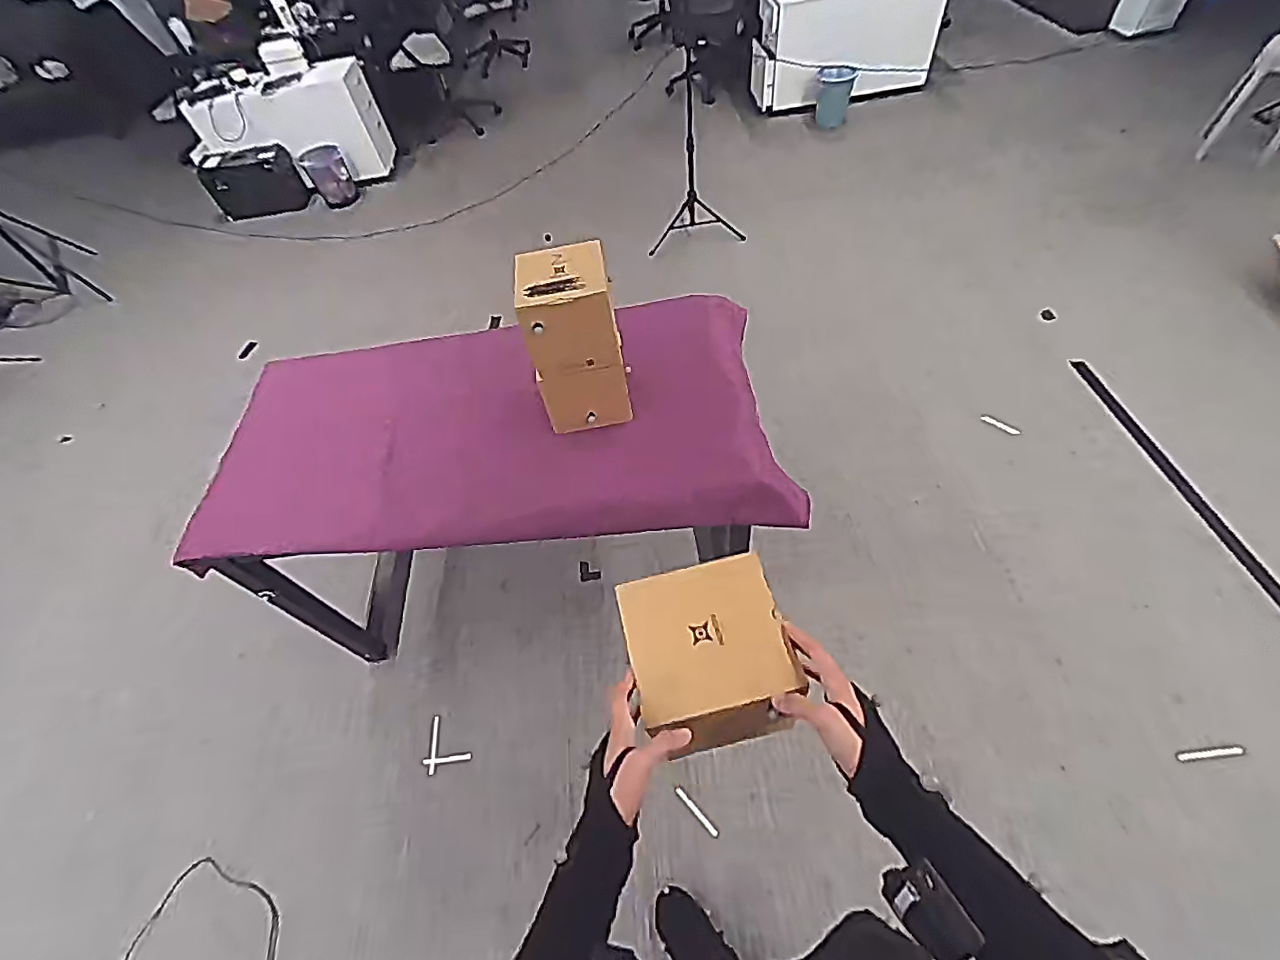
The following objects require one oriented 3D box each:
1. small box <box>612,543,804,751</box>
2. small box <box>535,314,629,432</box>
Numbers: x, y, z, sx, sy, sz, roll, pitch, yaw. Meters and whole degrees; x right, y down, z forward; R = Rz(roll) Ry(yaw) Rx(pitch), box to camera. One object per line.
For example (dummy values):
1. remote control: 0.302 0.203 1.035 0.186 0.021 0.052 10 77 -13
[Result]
1. small box: 0.076 0.204 0.646 0.179 0.176 0.168 -14 52 -2
2. small box: -0.120 -0.227 1.168 0.179 0.176 0.168 -10 53 0
